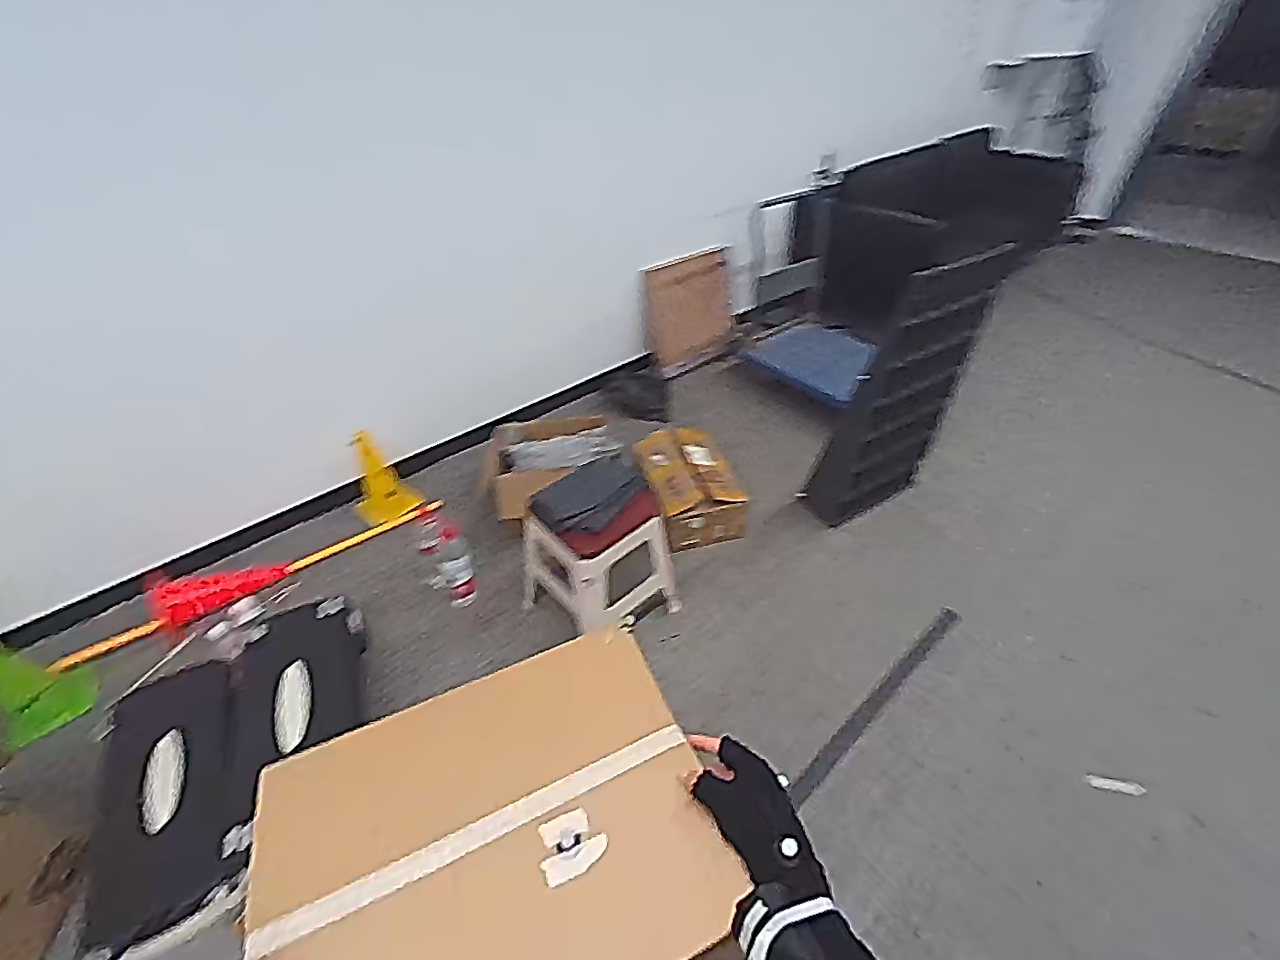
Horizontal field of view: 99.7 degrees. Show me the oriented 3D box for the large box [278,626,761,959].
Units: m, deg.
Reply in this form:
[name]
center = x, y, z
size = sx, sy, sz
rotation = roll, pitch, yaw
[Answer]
[large box]
center = -0.124, 0.444, 0.619
size = 0.408, 0.320, 0.320
rotation = -18, 43, -16
